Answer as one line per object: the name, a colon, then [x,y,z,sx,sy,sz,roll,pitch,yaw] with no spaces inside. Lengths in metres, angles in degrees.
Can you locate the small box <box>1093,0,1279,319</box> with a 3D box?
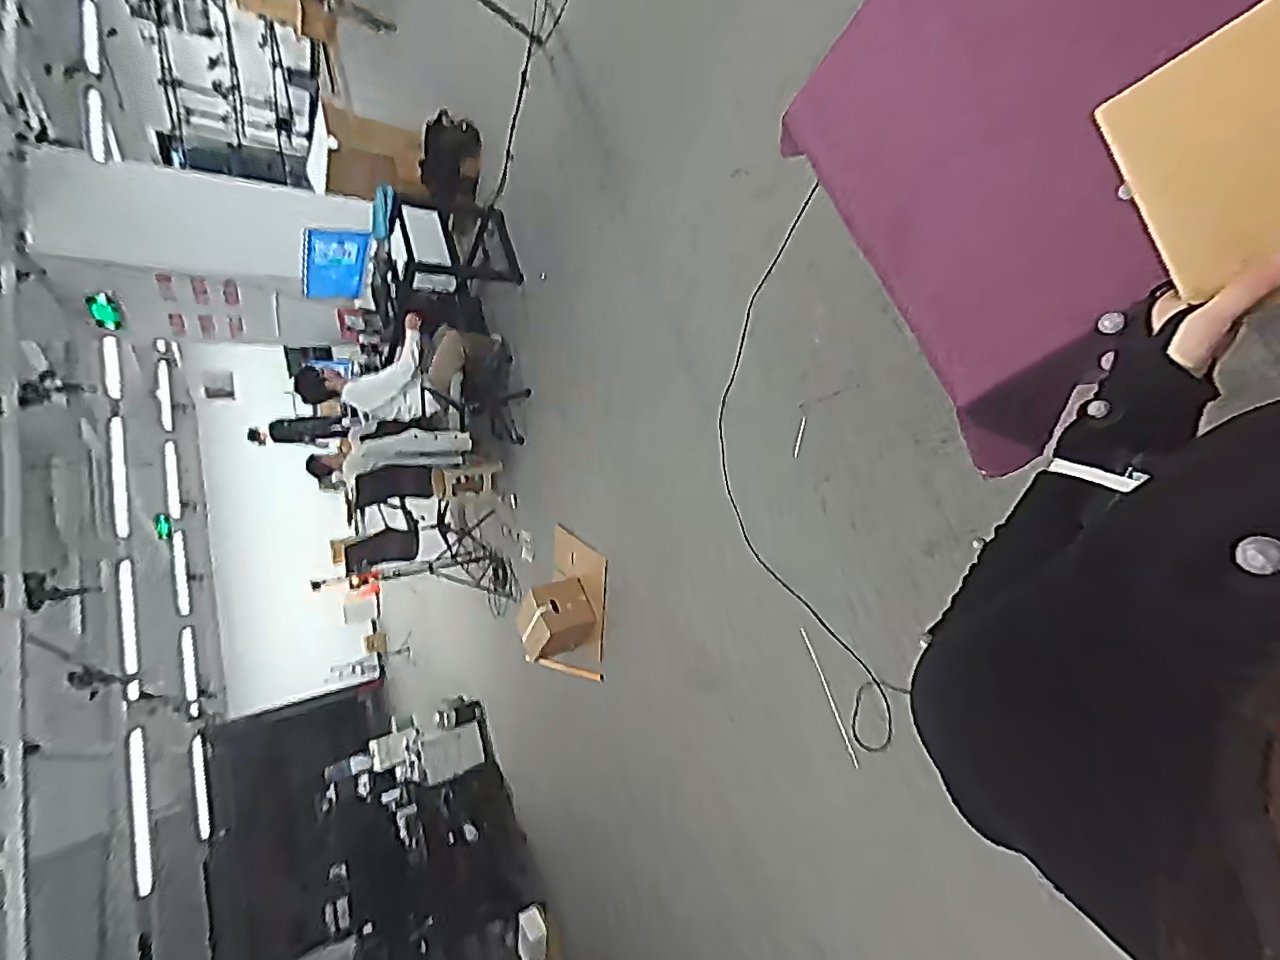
small box: [0.443,-0.231,0.346,0.179,0.176,0.168,-22,97,54]
